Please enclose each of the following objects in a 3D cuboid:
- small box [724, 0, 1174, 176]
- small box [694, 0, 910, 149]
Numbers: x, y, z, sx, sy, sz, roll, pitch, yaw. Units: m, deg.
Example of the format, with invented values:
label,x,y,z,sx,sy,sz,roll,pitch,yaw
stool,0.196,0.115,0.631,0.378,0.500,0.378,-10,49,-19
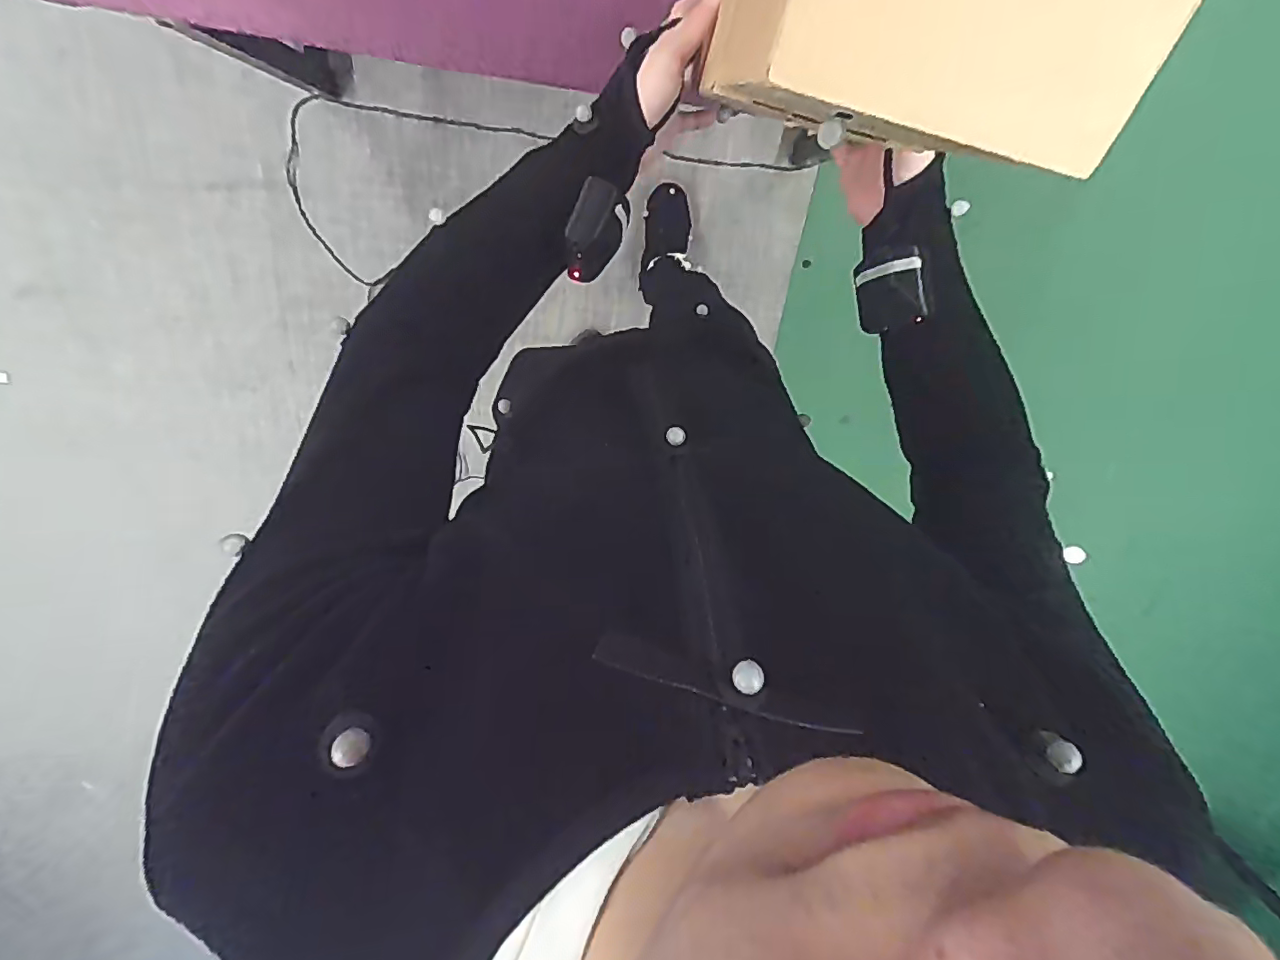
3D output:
label,x,y,z,sx,sy,sz,roll,pitch,yaw
small box,0.147,-0.276,0.268,0.168,0.176,0.179,11,124,-8
small box,0.142,-0.369,0.400,0.168,0.176,0.179,10,123,-8
